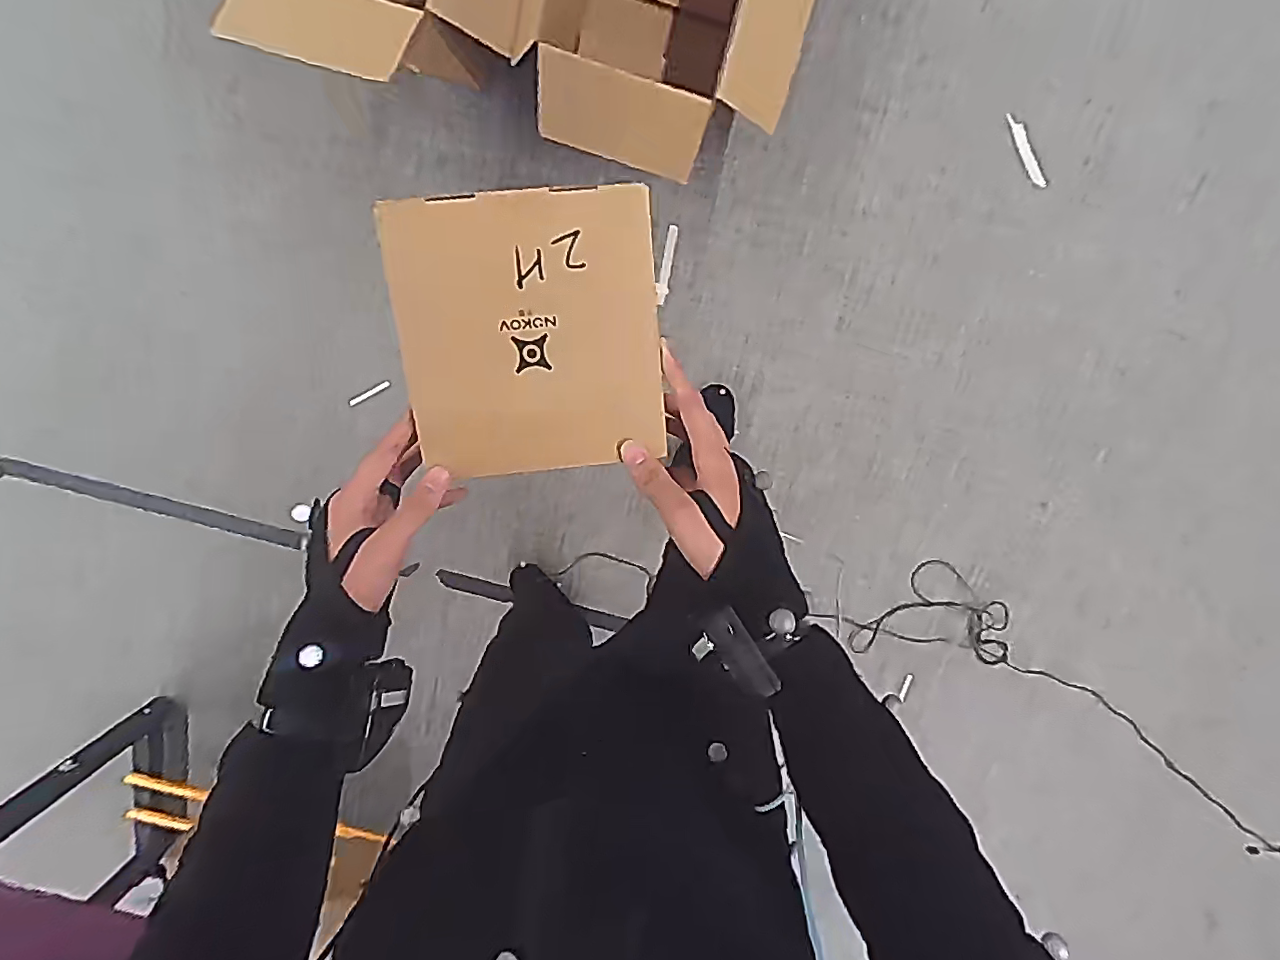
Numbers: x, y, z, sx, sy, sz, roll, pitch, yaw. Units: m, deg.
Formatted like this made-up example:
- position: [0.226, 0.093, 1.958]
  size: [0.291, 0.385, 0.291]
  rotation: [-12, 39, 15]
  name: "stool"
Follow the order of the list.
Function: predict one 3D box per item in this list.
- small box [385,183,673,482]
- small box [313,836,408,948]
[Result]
- position: [-0.068, -0.108, 0.416]
  size: [0.168, 0.176, 0.179]
  rotation: [-5, 105, -4]
  name: "small box"
- position: [-0.768, 1.133, 1.498]
  size: [0.179, 0.176, 0.168]
  rotation: [12, 105, 3]
  name: "small box"
